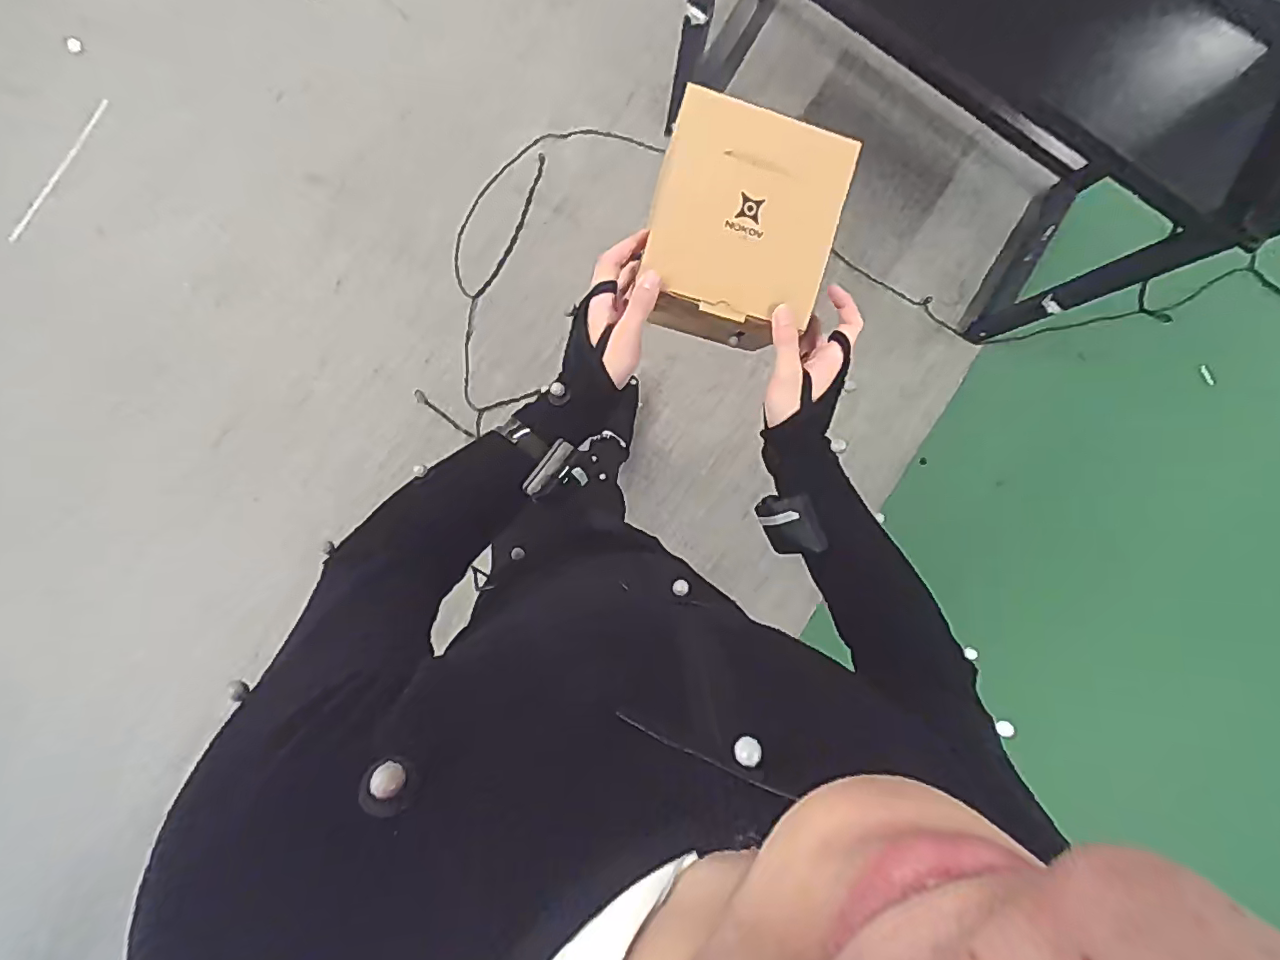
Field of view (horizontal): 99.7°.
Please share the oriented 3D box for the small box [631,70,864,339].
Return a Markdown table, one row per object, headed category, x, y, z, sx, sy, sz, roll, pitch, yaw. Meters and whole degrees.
| category | x | y | z | sx | sy | sz | roll | pitch | yaw |
| --- | --- | --- | --- | --- | --- | --- | --- | --- | --- |
| small box | 0.091 | -0.254 | 0.553 | 0.168 | 0.176 | 0.179 | 14 | 96 | -7 |
